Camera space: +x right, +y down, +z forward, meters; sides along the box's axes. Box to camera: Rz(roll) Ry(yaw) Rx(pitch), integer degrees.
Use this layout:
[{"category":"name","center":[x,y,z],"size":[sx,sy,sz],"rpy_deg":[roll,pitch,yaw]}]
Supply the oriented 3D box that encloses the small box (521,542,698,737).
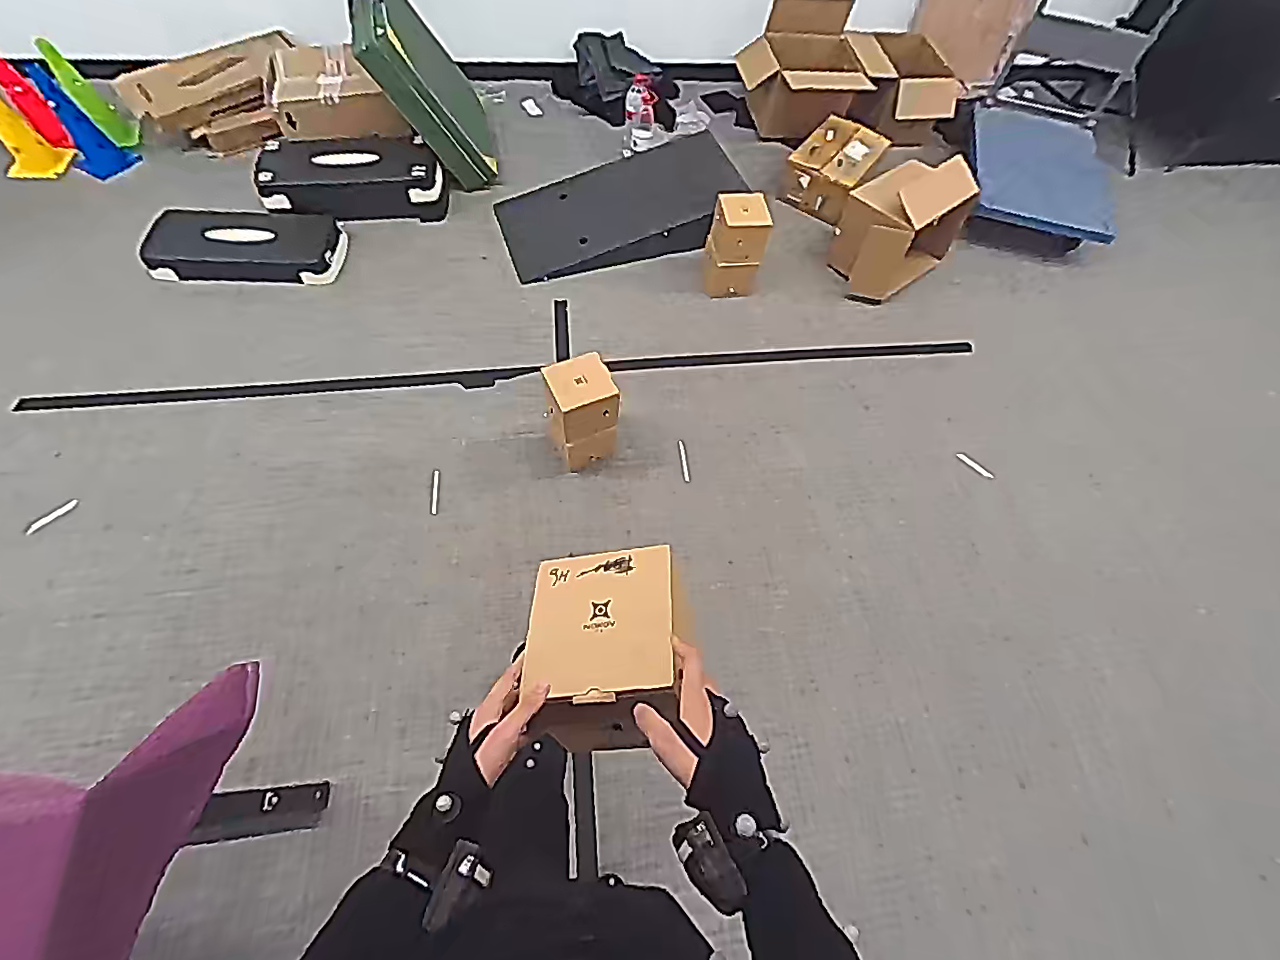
[{"category":"small box","center":[-0.025,0.201,0.659],"size":[0.168,0.176,0.179],"rpy_deg":[-8,47,11]}]
